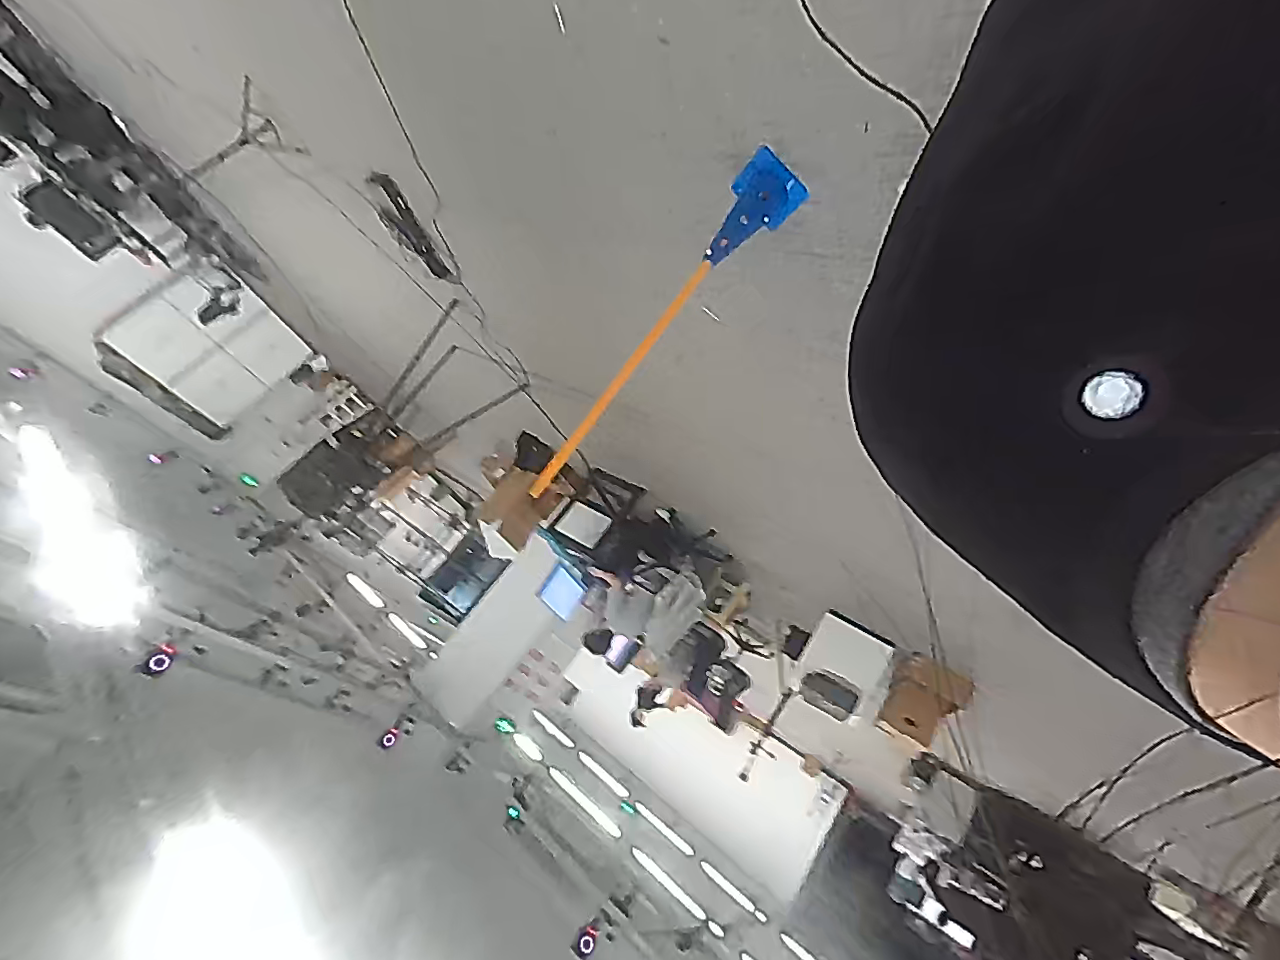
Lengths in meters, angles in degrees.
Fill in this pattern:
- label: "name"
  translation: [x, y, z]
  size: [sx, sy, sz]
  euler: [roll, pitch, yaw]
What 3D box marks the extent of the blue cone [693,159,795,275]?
- label: "blue cone"
  translation: [0.282, -0.748, 1.628]
  size: [0.192, 0.380, 0.193]
  euler: [40, 163, -9]
